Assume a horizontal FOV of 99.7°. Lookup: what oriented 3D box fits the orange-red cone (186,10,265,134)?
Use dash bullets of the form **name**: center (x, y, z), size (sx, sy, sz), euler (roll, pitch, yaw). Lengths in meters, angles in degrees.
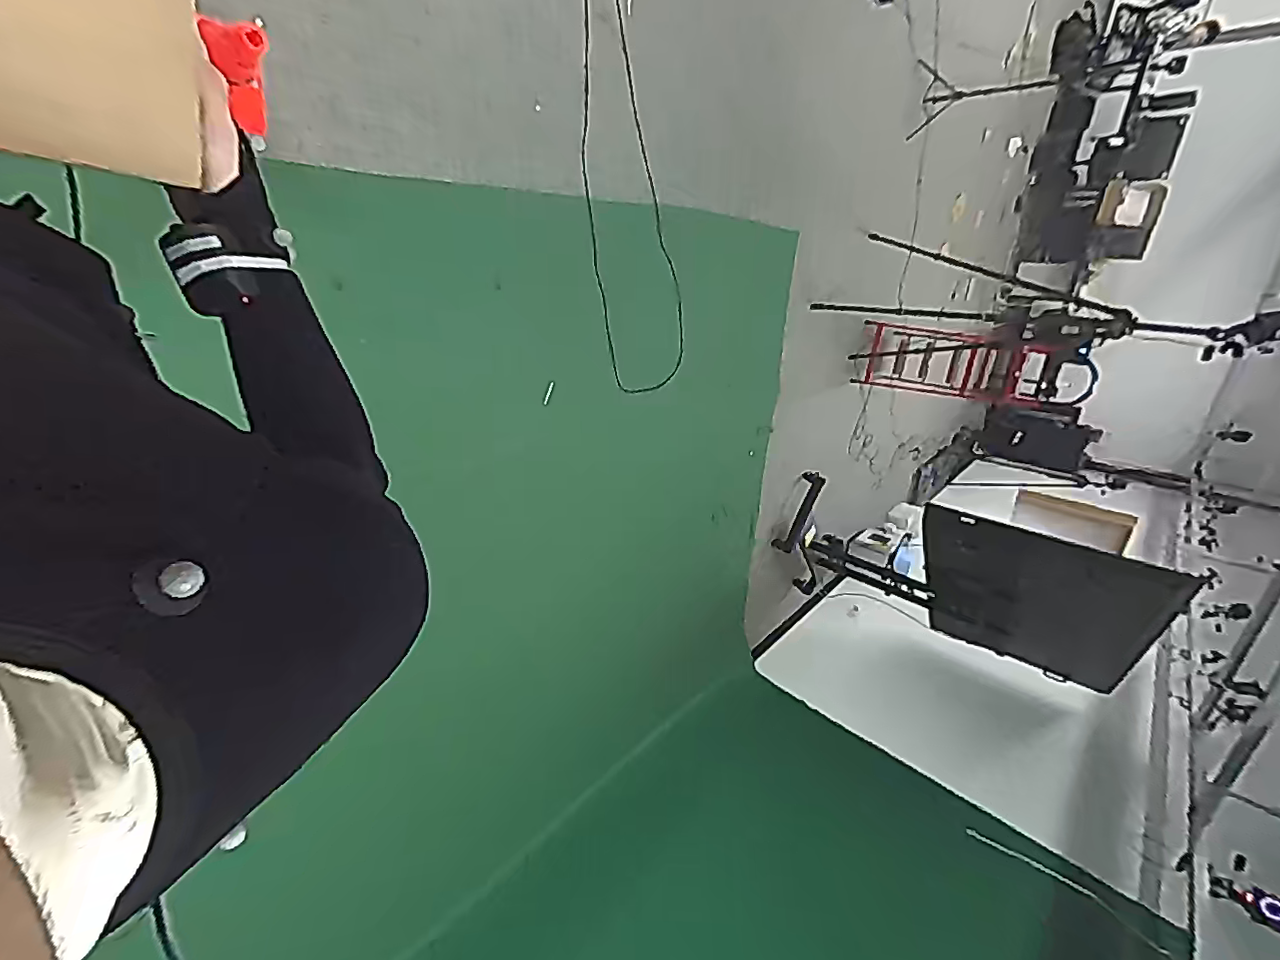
- **orange-red cone**: center (-0.799, -0.817, 1.044), size (0.199, 0.360, 0.198), euler (-13, 117, -48)
